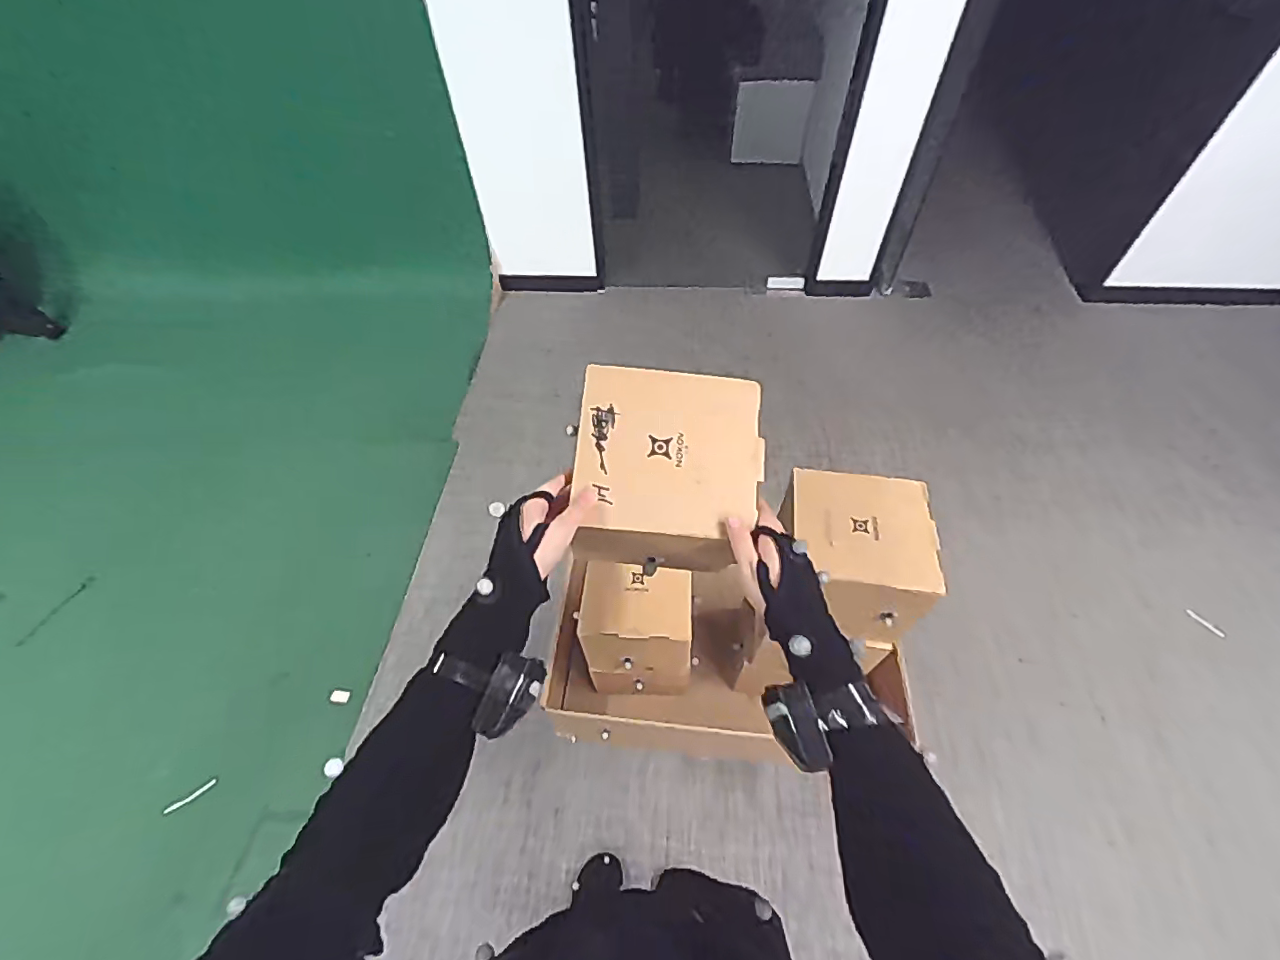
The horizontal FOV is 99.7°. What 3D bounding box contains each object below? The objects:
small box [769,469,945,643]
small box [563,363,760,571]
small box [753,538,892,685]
[{"bbox_3d":[0.280,0.108,0.738,0.179,0.176,0.168,6,53,8],"label":"small box"},{"bbox_3d":[0.018,-0.002,0.579,0.179,0.176,0.168,6,70,-3],"label":"small box"},{"bbox_3d":[0.279,0.213,0.863,0.179,0.176,0.168,7,54,7],"label":"small box"}]
